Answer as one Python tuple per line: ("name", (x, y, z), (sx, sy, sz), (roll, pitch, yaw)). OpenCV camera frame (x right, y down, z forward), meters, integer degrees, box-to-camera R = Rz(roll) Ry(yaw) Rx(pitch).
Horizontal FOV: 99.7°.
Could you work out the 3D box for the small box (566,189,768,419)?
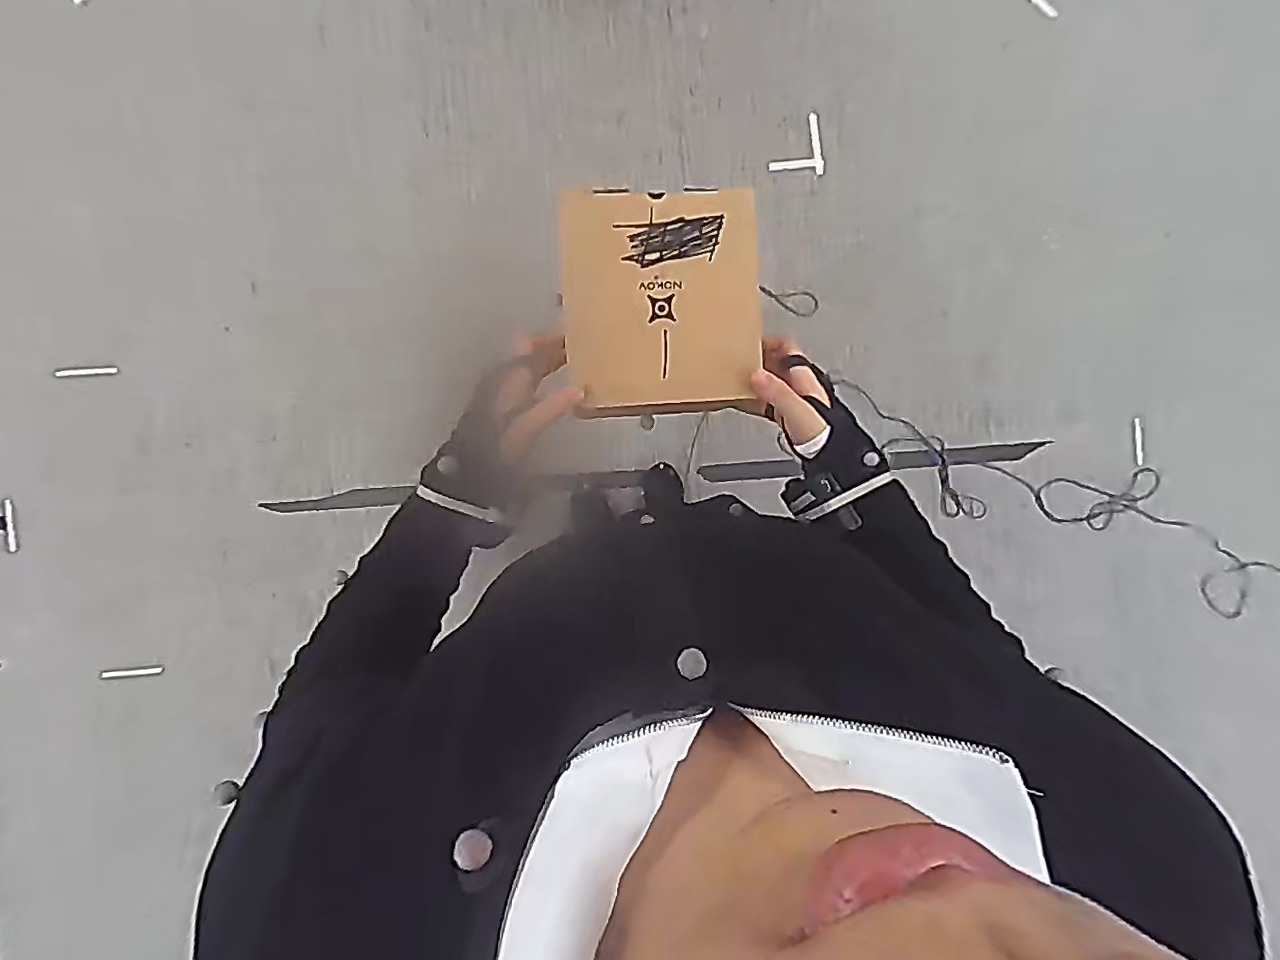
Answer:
("small box", (0.016, -0.156, 0.527), (0.168, 0.176, 0.179), (-4, 94, -4))
